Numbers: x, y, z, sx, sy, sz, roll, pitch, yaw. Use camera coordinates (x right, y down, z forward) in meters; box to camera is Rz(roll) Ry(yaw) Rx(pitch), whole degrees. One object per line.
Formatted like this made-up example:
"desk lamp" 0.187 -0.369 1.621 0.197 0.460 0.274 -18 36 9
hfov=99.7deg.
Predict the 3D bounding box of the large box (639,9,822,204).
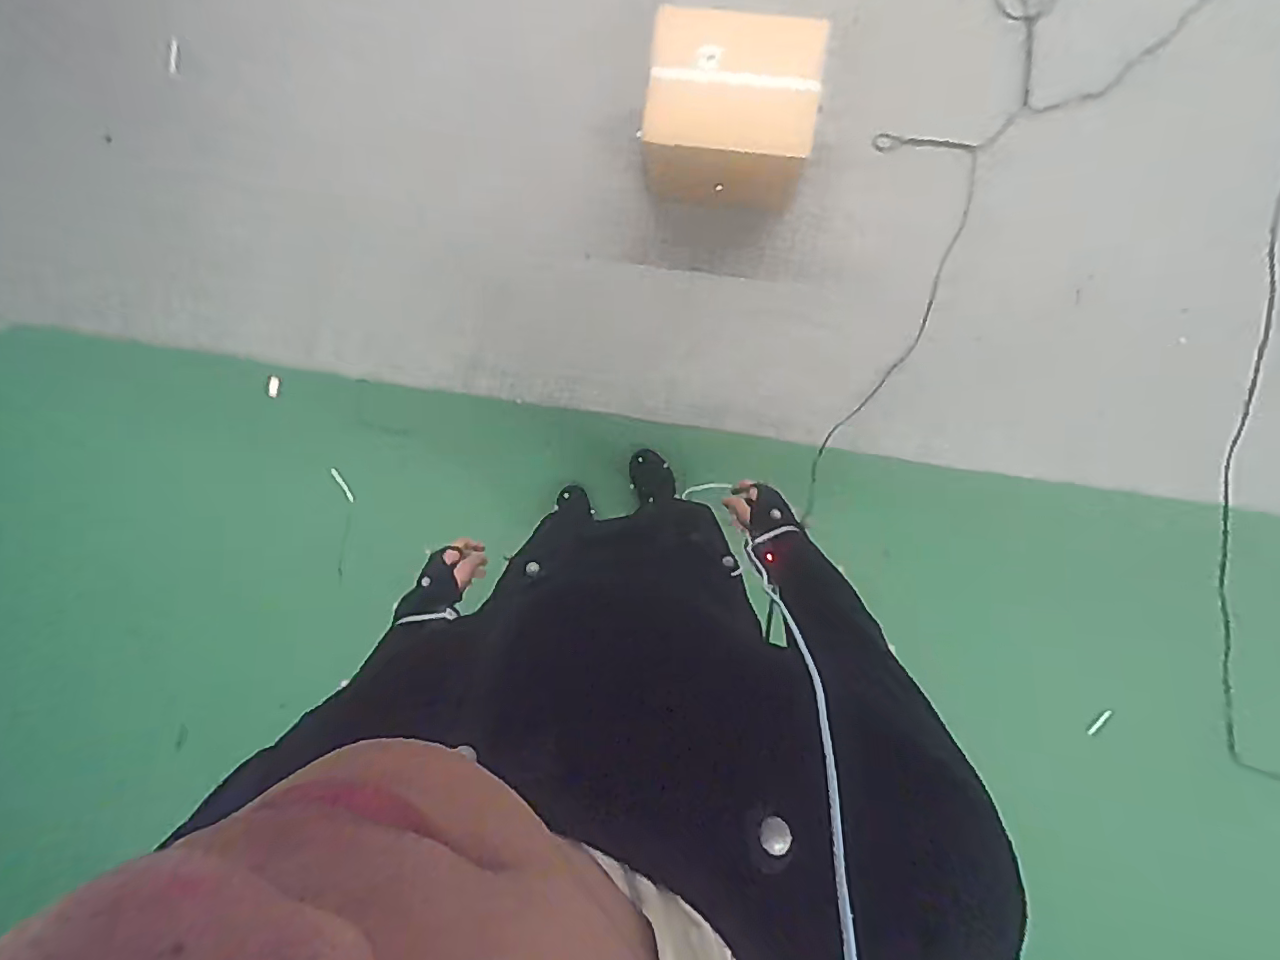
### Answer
"large box" 0.224 -0.953 1.419 0.408 0.320 0.320 7 94 5
